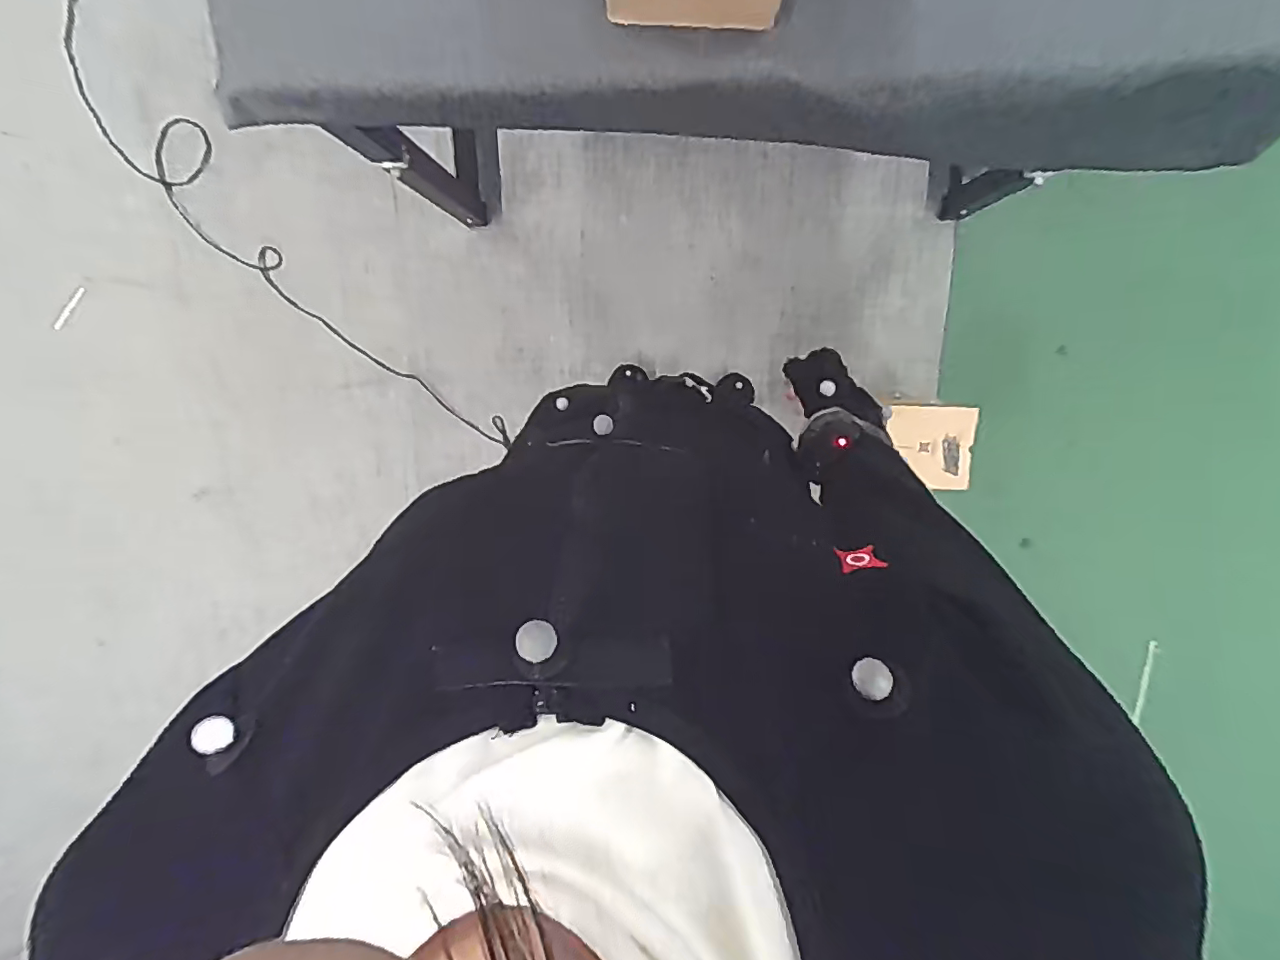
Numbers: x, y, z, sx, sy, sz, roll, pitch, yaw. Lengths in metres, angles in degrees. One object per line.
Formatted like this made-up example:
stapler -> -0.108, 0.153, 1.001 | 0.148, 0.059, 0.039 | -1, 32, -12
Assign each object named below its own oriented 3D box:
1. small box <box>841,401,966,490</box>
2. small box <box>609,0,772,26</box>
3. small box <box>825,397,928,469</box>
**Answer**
small box -> 0.552, -0.080, 1.156 | 0.179, 0.176, 0.168 | 3, 101, 2
small box -> 0.053, -0.552, 0.485 | 0.179, 0.176, 0.168 | 4, 102, 1
small box -> 0.568, -0.116, 1.316 | 0.179, 0.176, 0.168 | 1, 101, 3
